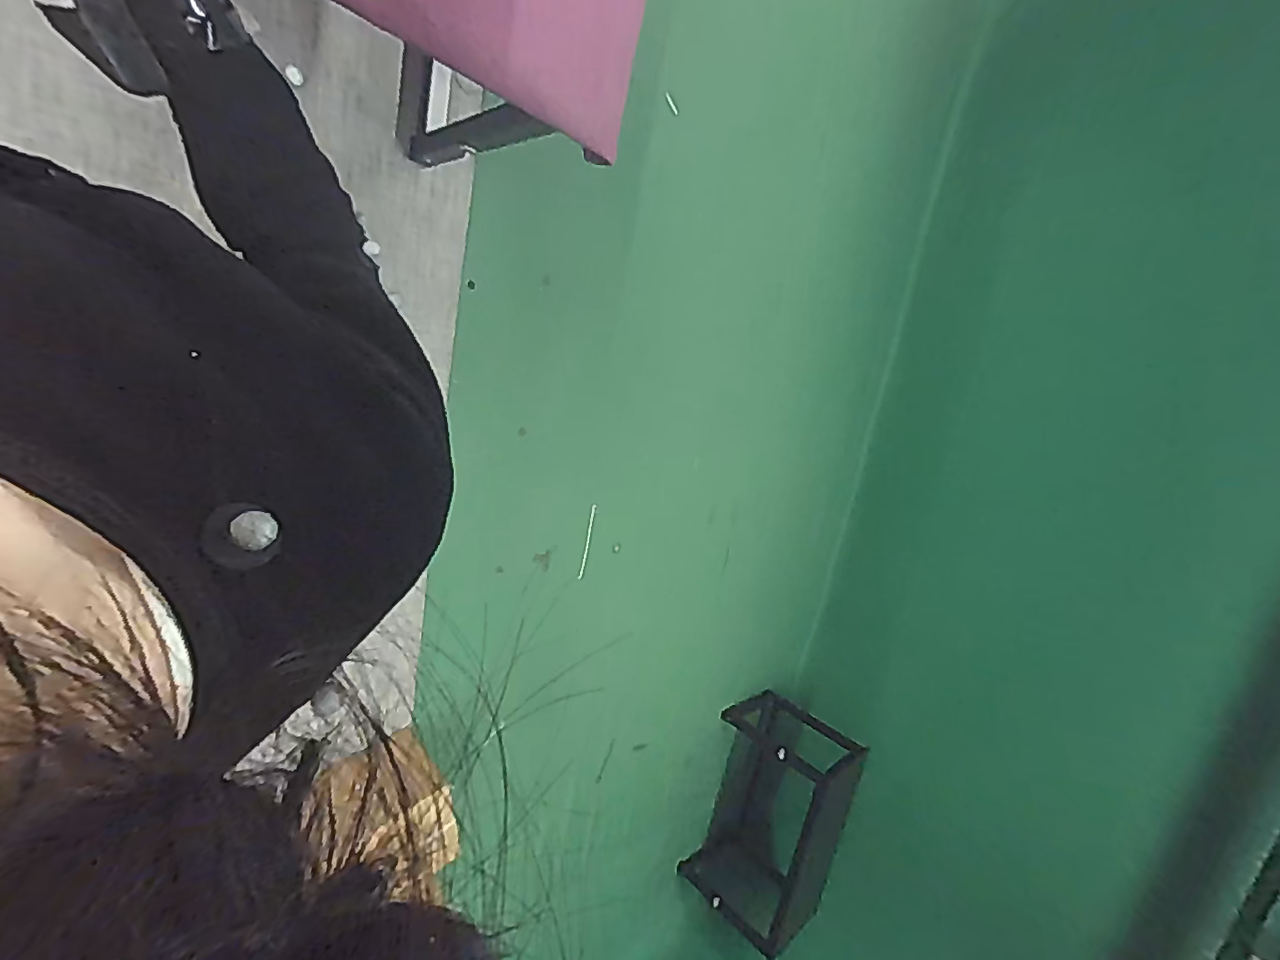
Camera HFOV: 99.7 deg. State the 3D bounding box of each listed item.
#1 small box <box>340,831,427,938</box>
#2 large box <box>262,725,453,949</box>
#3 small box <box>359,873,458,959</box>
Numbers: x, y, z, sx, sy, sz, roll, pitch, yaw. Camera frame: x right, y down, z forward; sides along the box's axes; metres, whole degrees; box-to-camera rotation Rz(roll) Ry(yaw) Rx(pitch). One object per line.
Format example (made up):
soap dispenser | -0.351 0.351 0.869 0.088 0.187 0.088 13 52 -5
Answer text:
small box | -0.683 1.083 1.441 0.168 0.176 0.179 -12 114 -43
large box | -0.838 1.040 1.631 0.408 0.320 0.320 -20 121 -42
small box | -0.572 1.134 1.334 0.179 0.176 0.168 -11 113 -44
